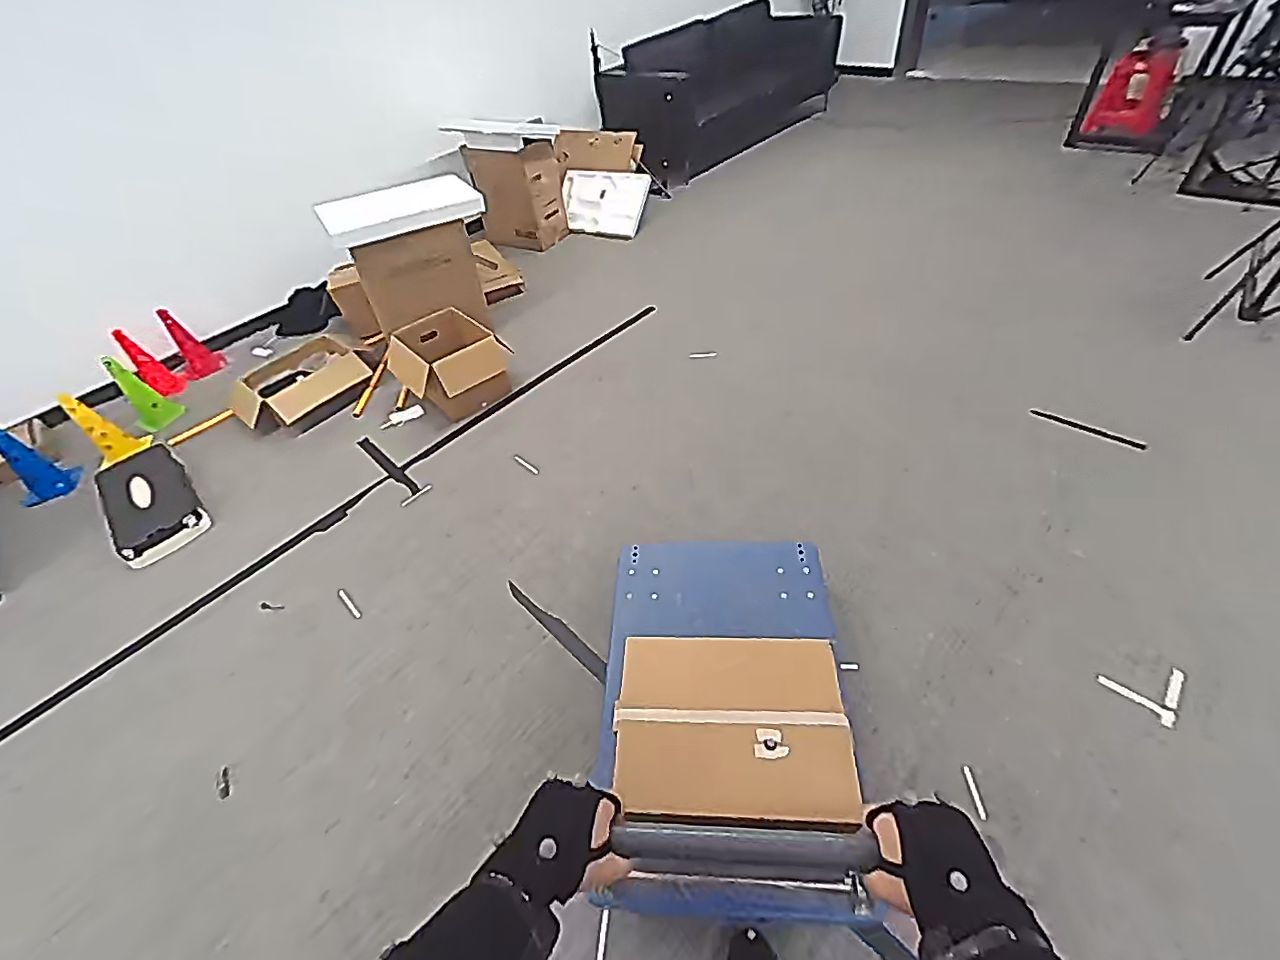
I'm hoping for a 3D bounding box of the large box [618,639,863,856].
[{"bbox_3d":[0.176,0.533,1.080,0.408,0.320,0.320,-1,46,6],"label":"large box"}]
